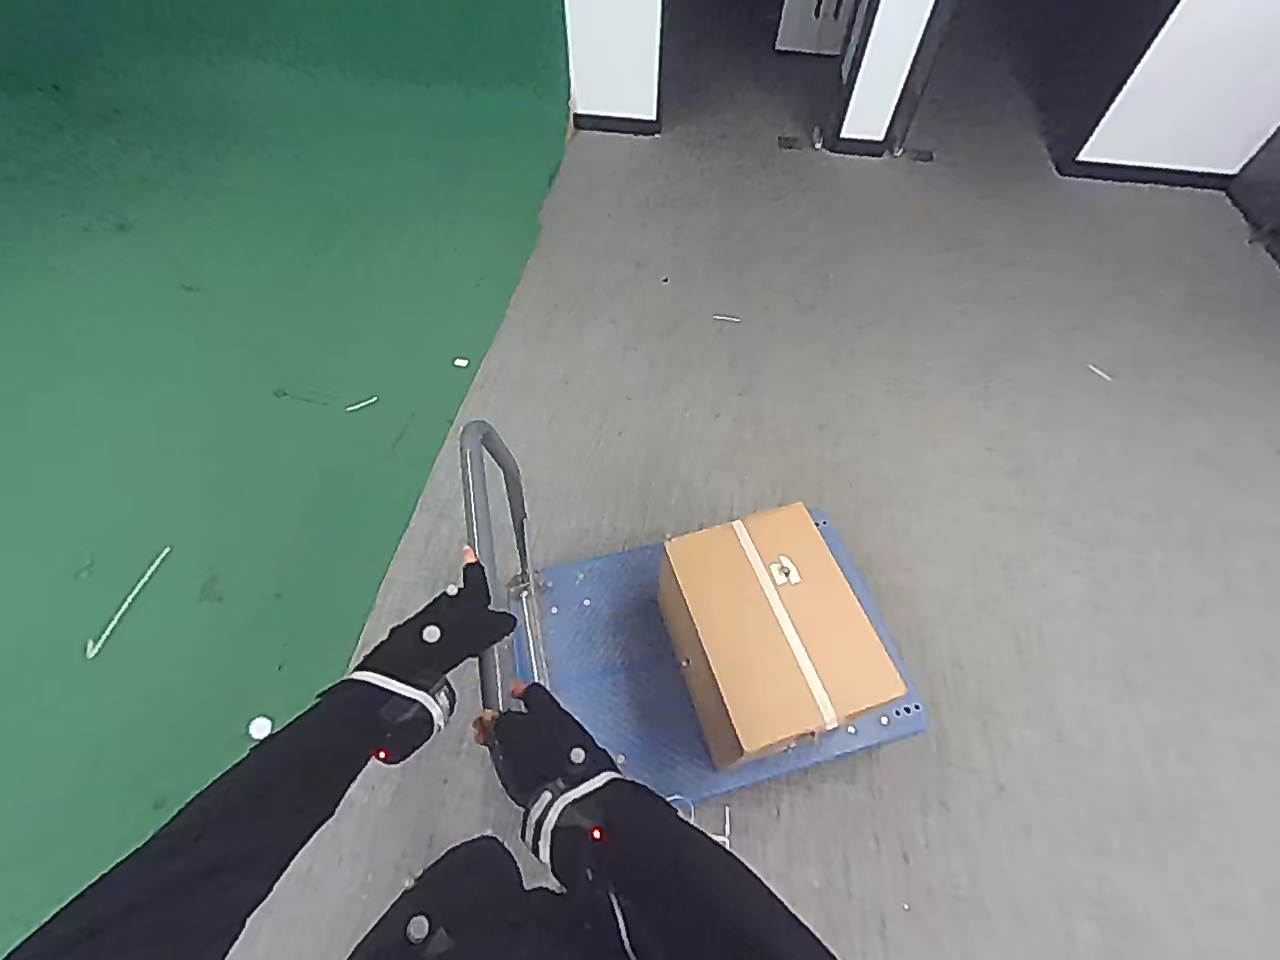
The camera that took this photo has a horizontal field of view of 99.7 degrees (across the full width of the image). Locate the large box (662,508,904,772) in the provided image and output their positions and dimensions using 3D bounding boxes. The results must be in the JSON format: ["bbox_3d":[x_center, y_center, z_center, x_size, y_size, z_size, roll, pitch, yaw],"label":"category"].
[{"bbox_3d":[0.258,0.338,1.144,0.320,0.320,0.408,-15,57,-11],"label":"large box"}]
